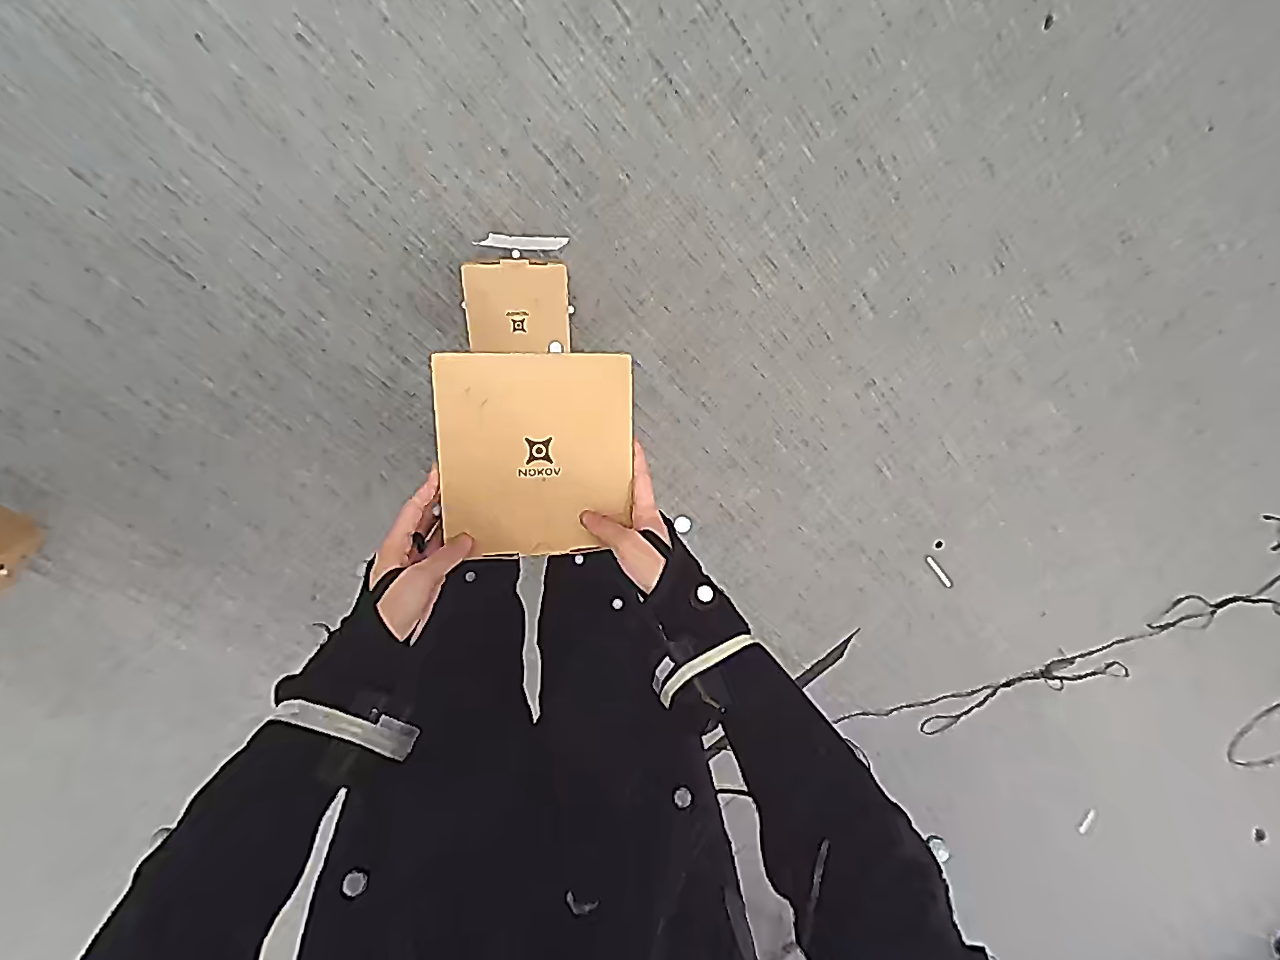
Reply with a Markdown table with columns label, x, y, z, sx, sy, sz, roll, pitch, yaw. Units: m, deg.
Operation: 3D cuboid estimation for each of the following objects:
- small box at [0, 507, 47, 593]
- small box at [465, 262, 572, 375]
| label | x | y | z | sx | sy | sz | roll | pitch | yaw |
| --- | --- | --- | --- | --- | --- | --- | --- | --- | --- |
| small box | -1.229 | 0.135 | 0.948 | 0.179 | 0.176 | 0.168 | 38 | 101 | -22 |
| small box | -0.211 | -0.290 | 0.954 | 0.168 | 0.176 | 0.179 | -4 | 114 | -10 |
